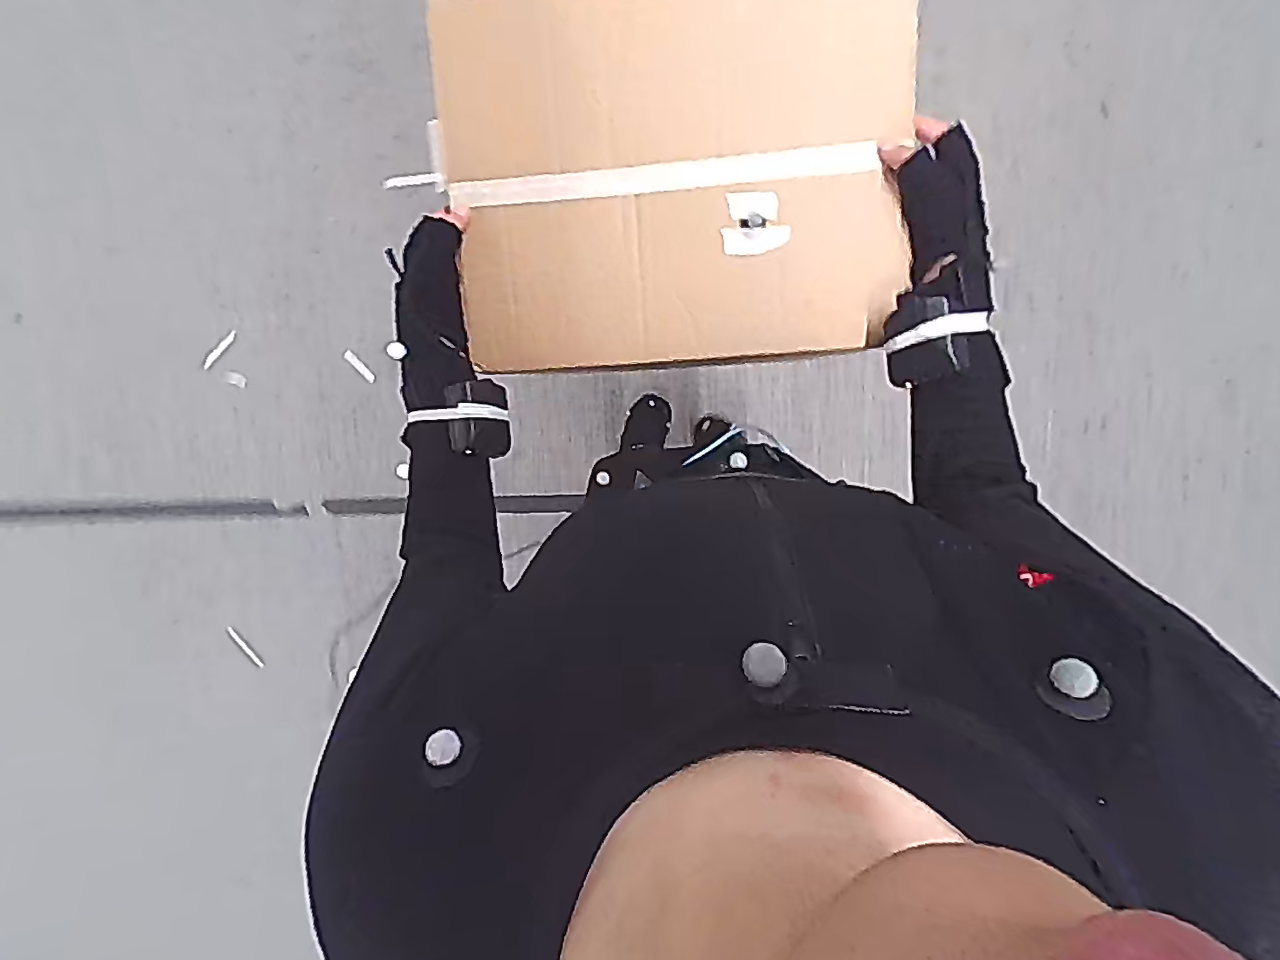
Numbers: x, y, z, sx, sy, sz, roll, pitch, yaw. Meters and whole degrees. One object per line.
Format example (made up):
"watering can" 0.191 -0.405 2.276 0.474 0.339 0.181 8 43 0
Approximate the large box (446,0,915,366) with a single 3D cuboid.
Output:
"large box" 0.043 -0.304 0.627 0.408 0.320 0.320 -2 102 3
